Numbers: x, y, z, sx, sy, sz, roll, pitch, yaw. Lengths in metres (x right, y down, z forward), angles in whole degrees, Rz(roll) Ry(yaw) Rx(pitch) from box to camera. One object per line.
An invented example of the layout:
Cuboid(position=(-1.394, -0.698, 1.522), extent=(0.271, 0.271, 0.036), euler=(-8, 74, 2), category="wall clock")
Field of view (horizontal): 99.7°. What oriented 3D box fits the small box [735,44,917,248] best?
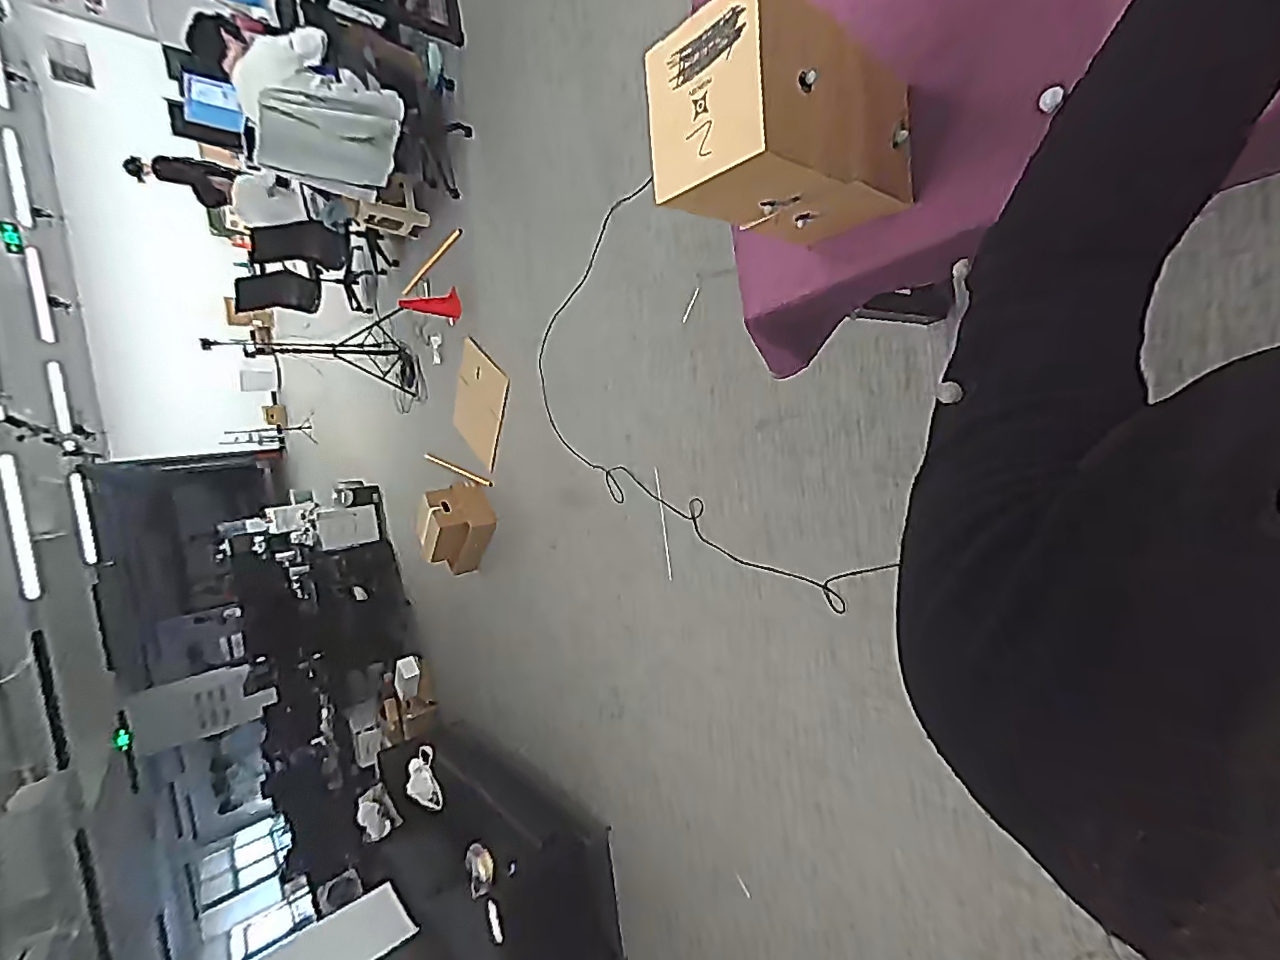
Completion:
Cuboid(position=(0.259, -0.442, 0.756), extent=(0.179, 0.176, 0.168), euler=(-2, 97, 49), category="small box")
